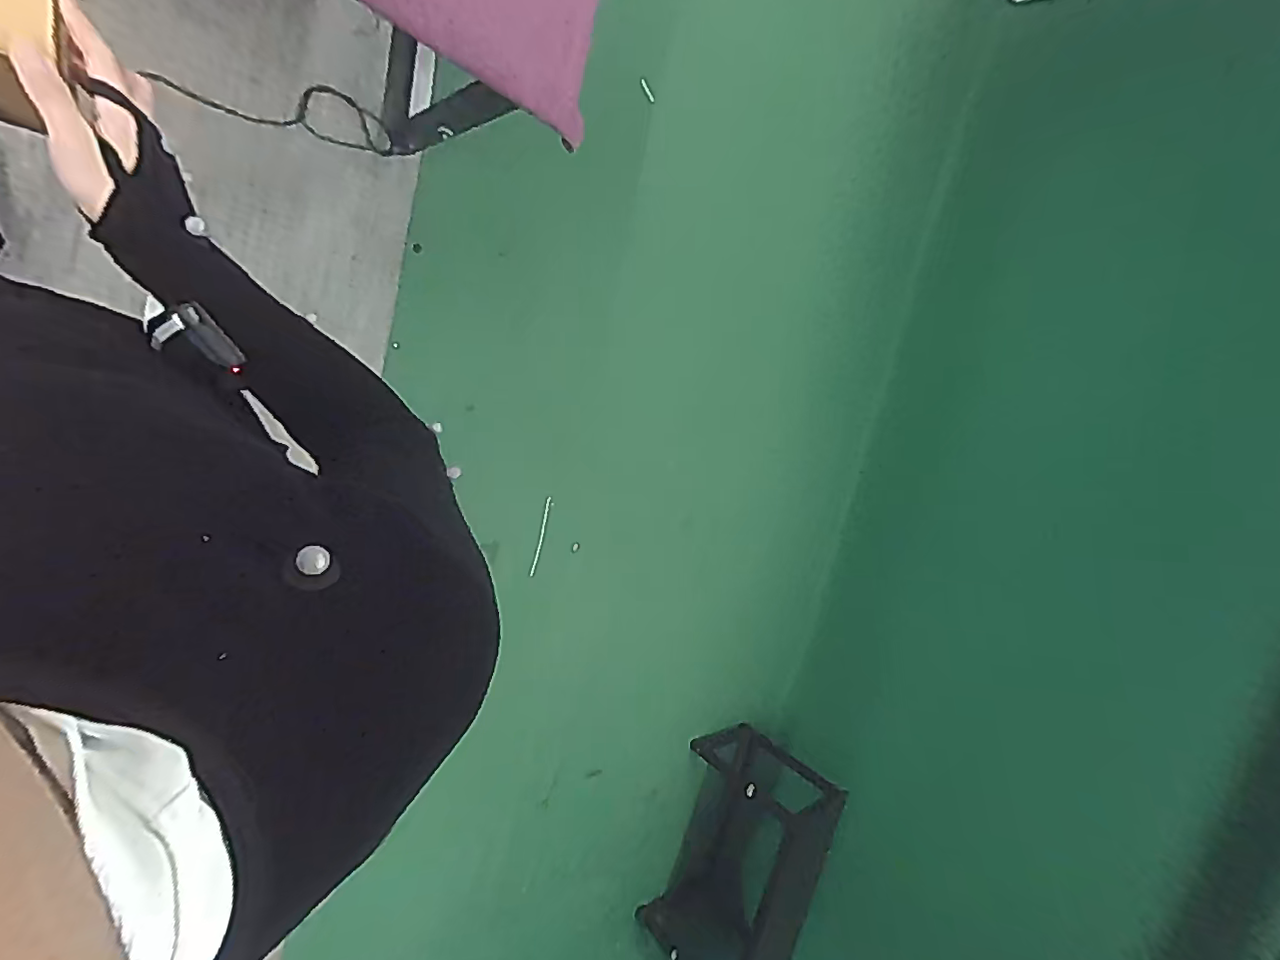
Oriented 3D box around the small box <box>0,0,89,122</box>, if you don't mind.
[{"bbox_3d":[-0.508,-0.395,0.373,0.168,0.176,0.179,3,99,-42],"label":"small box"}]
